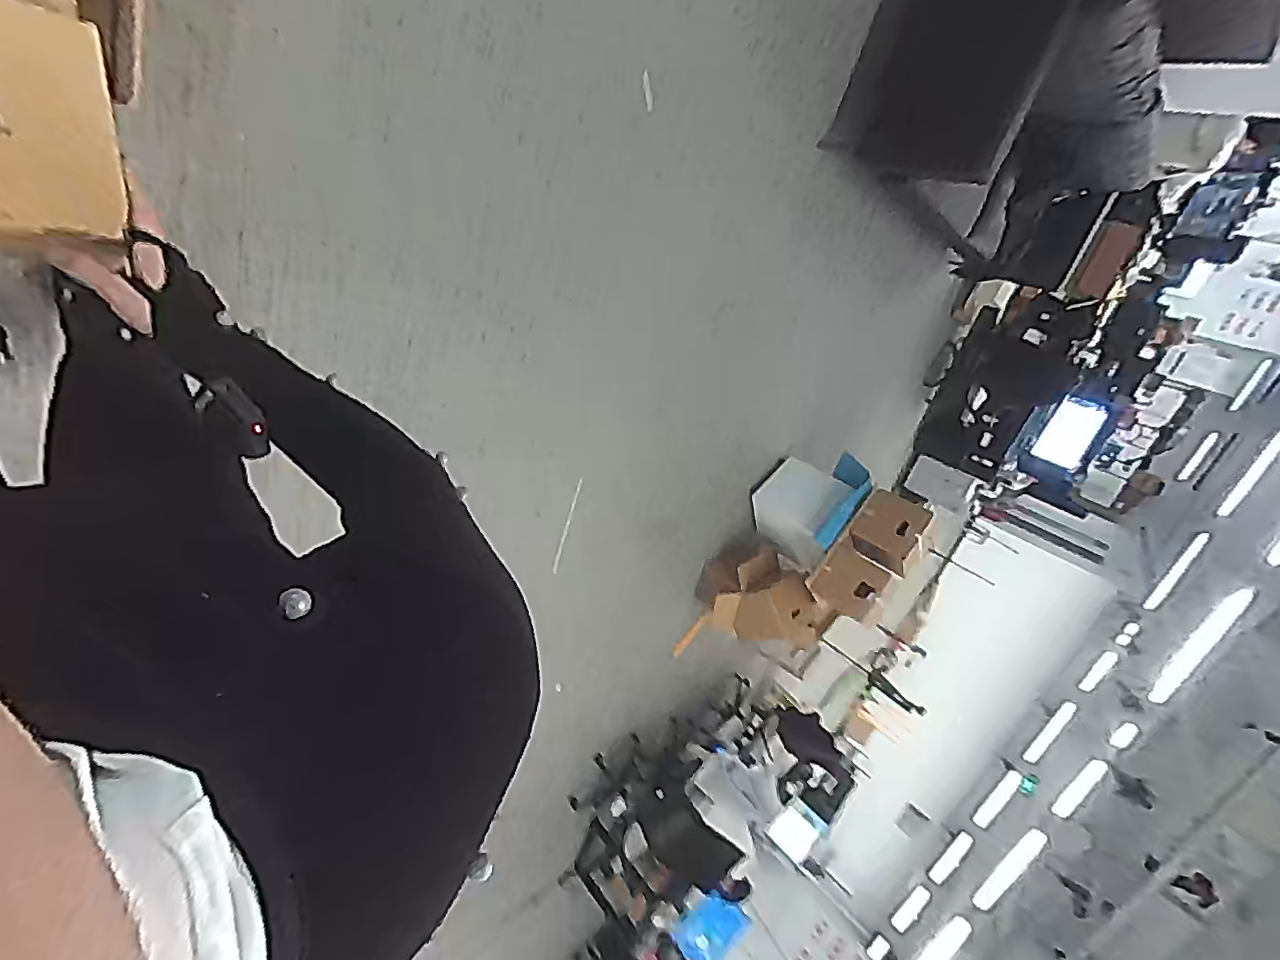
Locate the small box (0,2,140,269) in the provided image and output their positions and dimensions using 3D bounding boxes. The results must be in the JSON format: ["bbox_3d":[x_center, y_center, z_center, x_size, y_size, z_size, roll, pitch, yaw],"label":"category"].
[{"bbox_3d":[-0.574,-0.295,0.474,0.168,0.176,0.179,-14,108,-46],"label":"small box"}]
